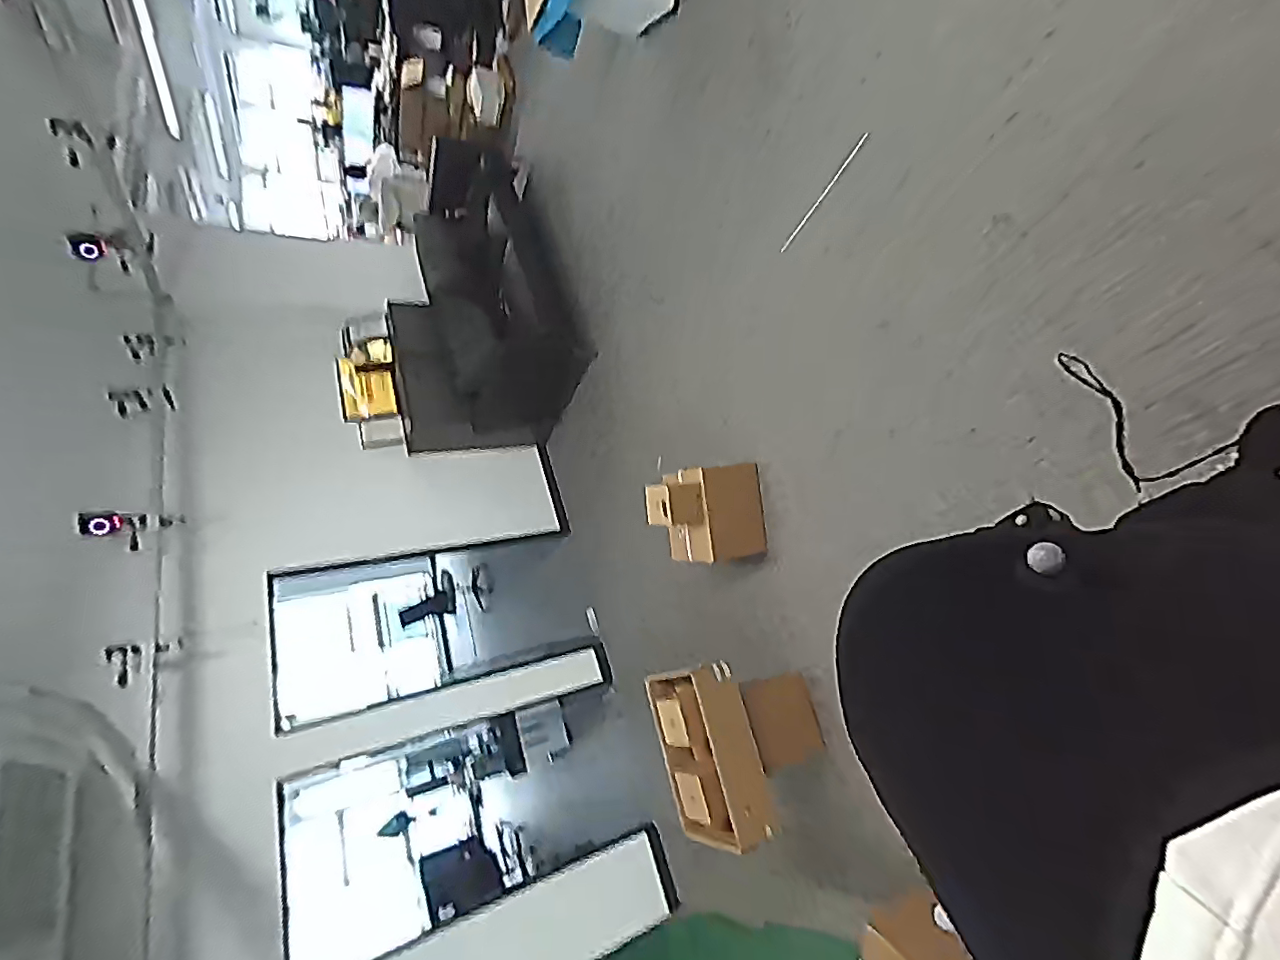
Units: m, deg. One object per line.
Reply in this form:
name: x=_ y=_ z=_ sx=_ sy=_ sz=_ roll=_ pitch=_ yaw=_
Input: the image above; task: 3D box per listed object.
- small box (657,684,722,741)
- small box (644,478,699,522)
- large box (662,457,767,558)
small box: x=0.197 y=0.919 z=2.143 sx=0.179 sy=0.176 sz=0.168 roll=-37 pitch=64 yaw=54
small box: x=0.139 y=0.082 z=2.285 sx=0.179 sy=0.176 sz=0.168 roll=-3 pitch=93 yaw=58
large box: x=0.335 y=0.126 z=2.449 sx=0.320 sy=0.320 sz=0.408 roll=-10 pitch=88 yaw=60
